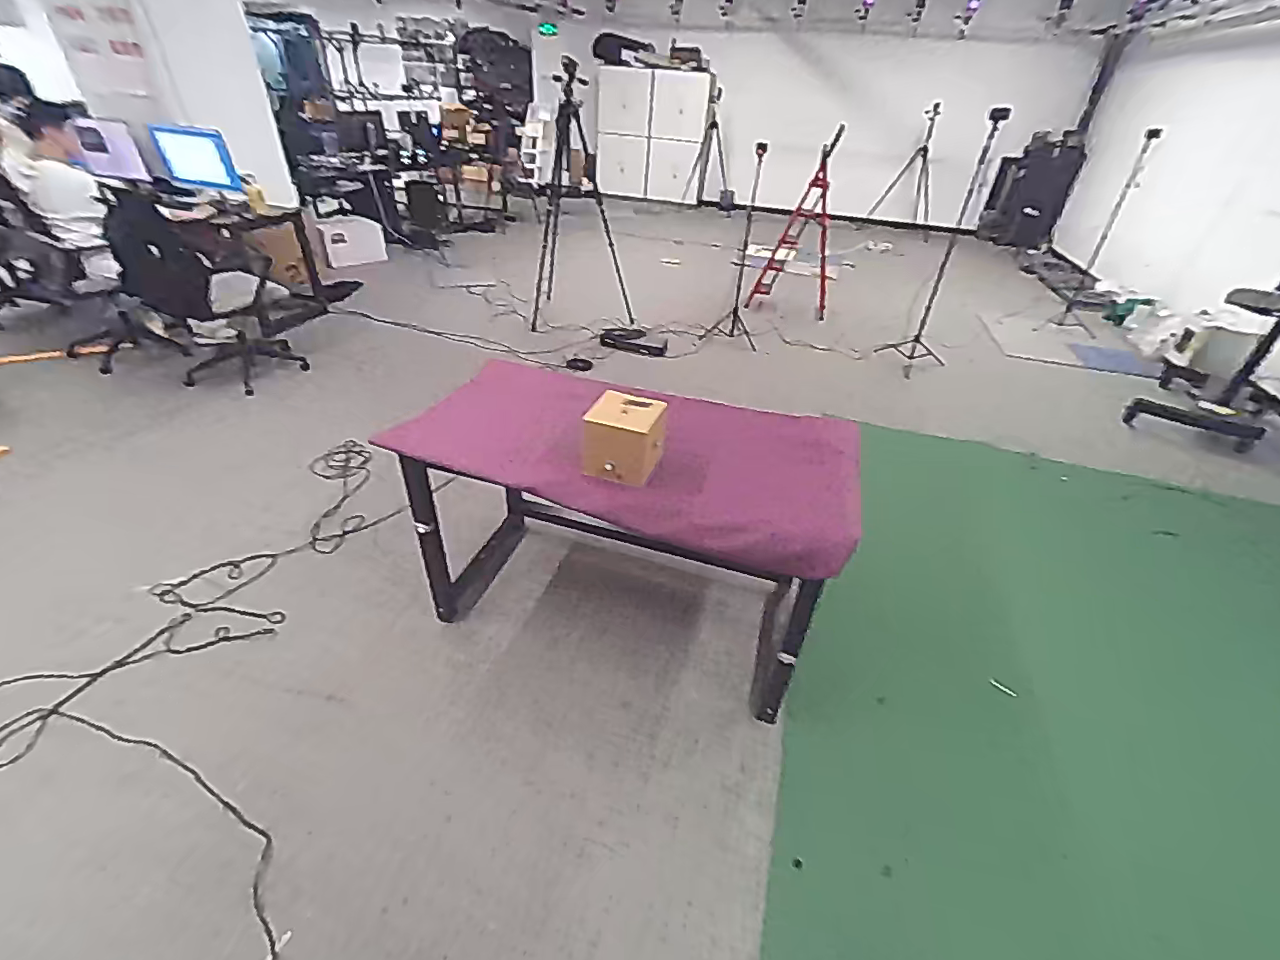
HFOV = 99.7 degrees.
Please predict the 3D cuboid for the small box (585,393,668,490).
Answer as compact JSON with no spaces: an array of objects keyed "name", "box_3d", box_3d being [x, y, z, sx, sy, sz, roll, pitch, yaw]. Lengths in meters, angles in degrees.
[{"name":"small box","box_3d":[-0.036,-0.101,1.390,0.168,0.176,0.179,13,36,14]}]
